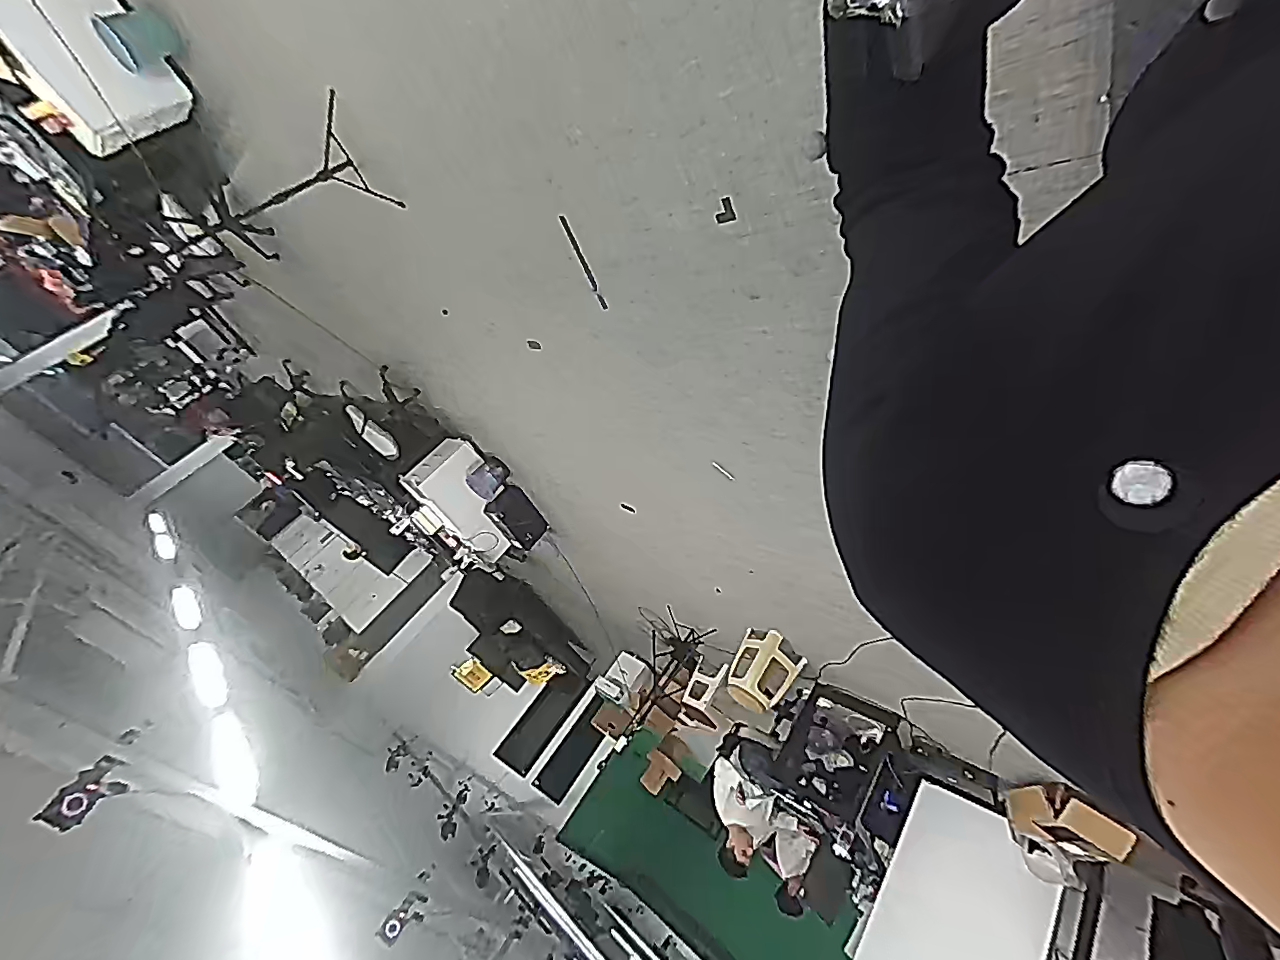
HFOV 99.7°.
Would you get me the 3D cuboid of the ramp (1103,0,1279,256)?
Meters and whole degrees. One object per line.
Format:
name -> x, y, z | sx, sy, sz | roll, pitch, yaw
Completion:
ramp -> 0.919, -0.743, 0.692 | 0.509, 0.206, 0.991 | 8, 140, 45
